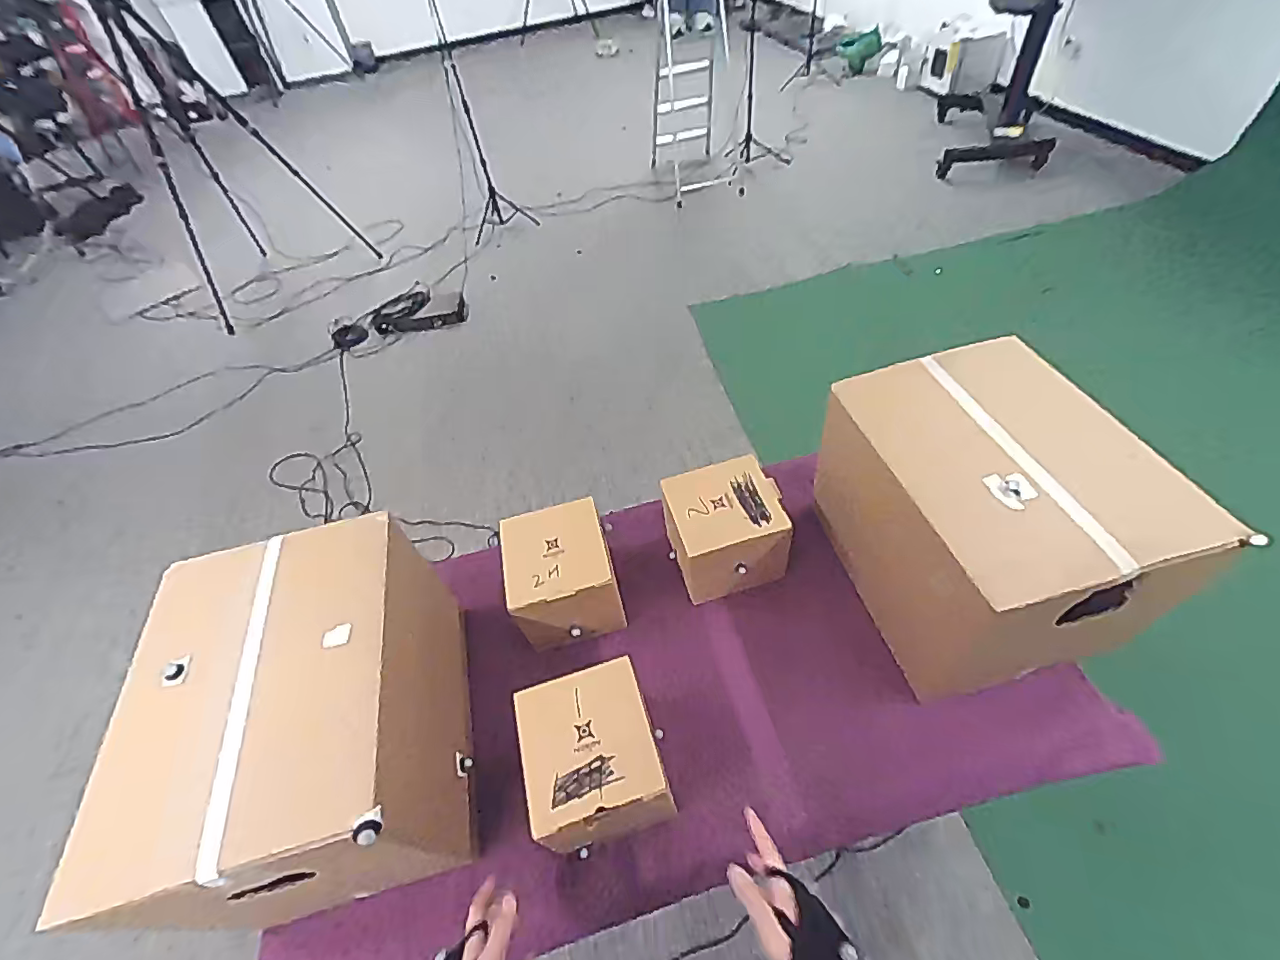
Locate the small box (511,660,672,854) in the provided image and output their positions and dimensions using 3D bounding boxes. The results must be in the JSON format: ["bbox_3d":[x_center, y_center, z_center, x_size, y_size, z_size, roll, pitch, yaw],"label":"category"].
[{"bbox_3d":[-0.062,0.381,0.735,0.168,0.176,0.179,-17,48,-7],"label":"small box"}]

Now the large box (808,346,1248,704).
[{"bbox_3d":[0.501,0.062,0.830,0.320,0.320,0.408,-15,50,-3],"label":"large box"}]
